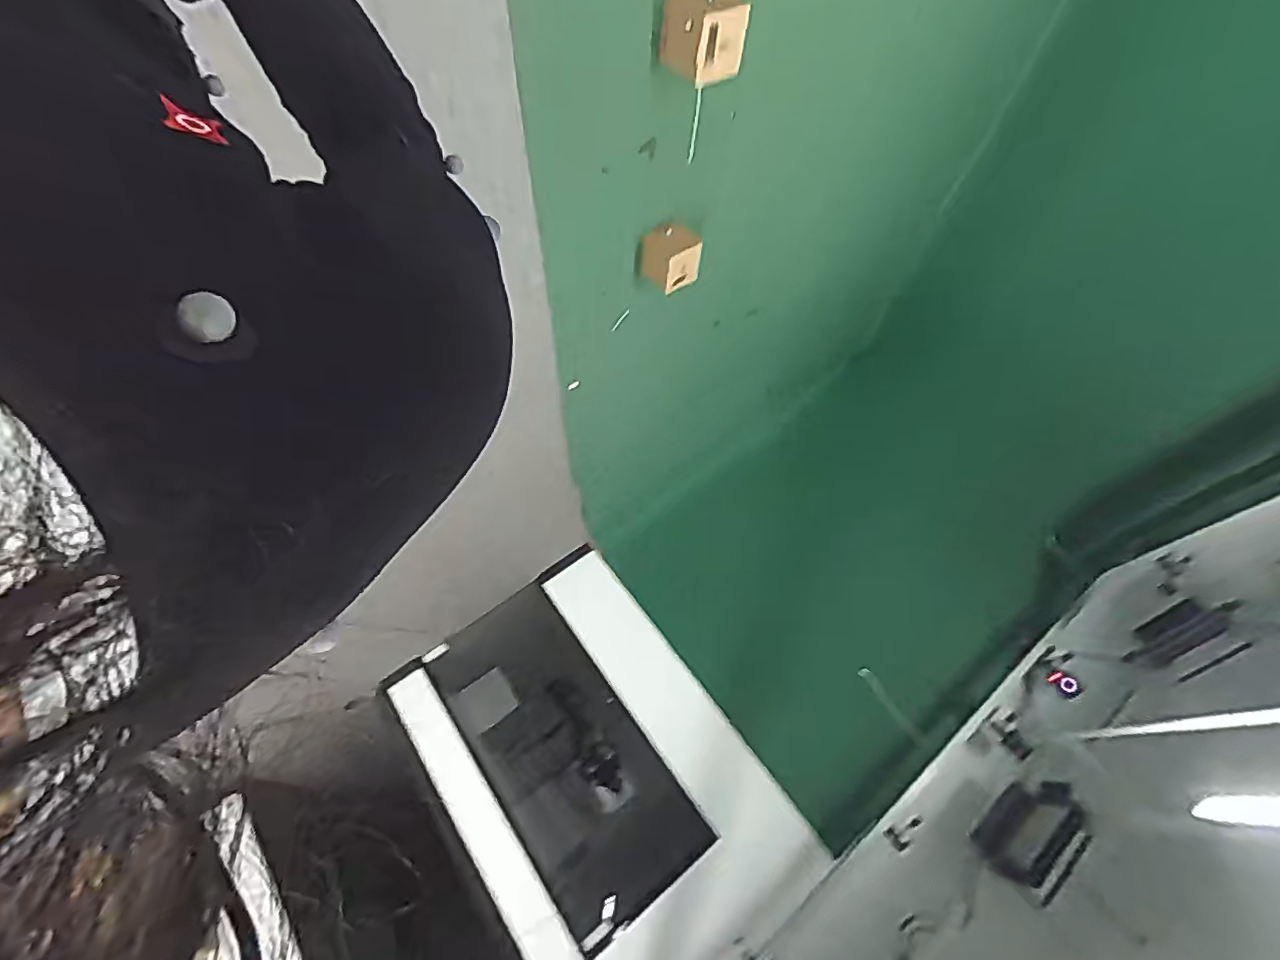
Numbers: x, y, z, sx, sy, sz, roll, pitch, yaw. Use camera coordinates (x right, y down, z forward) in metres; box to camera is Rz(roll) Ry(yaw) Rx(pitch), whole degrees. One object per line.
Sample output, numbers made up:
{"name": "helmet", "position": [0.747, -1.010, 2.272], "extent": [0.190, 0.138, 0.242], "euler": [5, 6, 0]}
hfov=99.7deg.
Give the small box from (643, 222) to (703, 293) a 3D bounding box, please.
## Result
{"name": "small box", "position": [0.125, -0.891, 2.161], "extent": [0.168, 0.176, 0.179], "euler": [-32, 157, -20]}
